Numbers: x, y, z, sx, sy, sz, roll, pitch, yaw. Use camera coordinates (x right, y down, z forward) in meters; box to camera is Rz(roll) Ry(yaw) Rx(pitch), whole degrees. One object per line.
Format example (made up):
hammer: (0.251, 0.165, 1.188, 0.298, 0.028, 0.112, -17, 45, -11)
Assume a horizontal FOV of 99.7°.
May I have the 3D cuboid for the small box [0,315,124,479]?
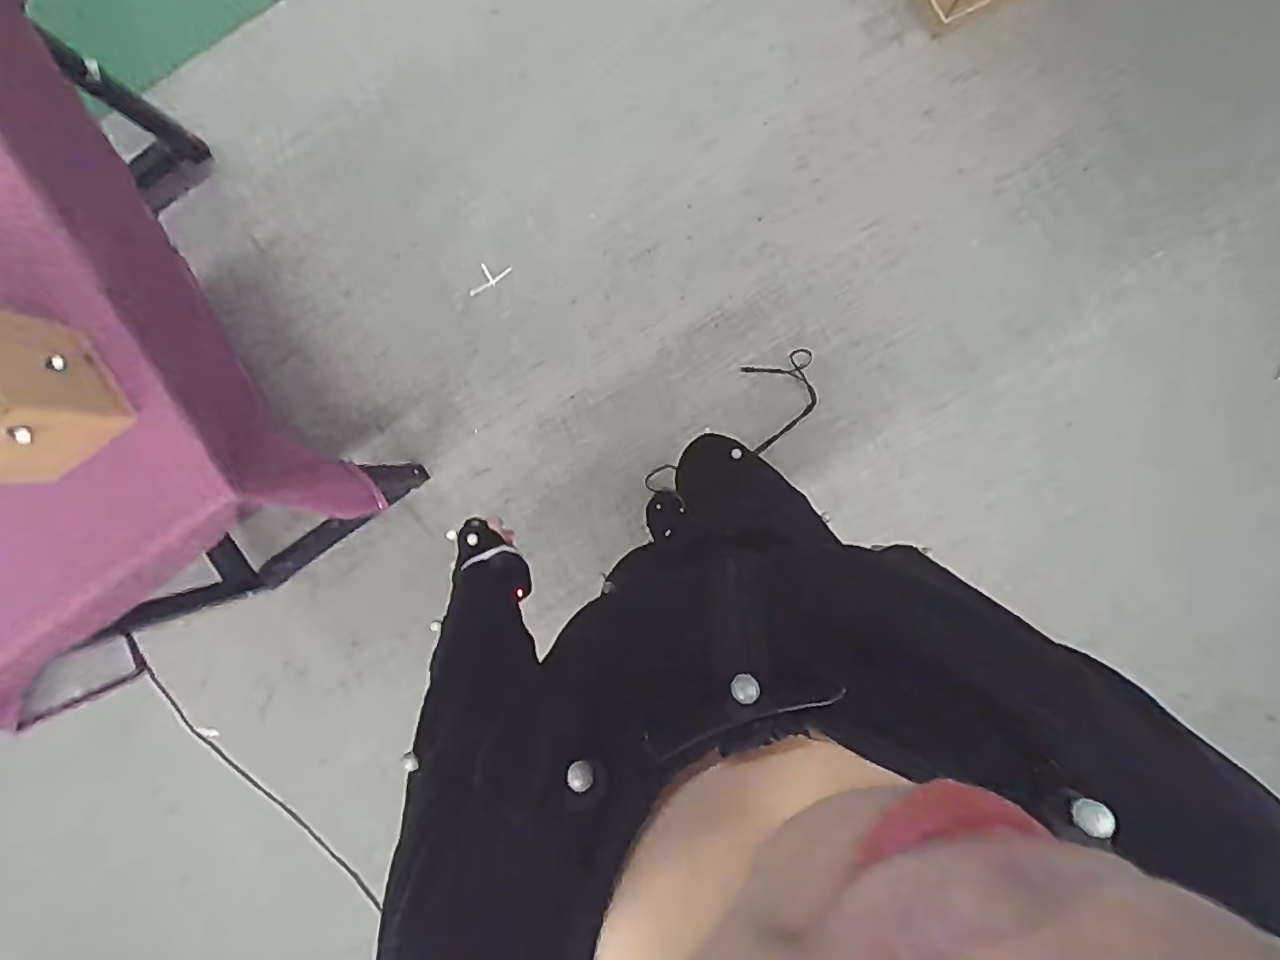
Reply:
small box: (-0.871, -0.114, 0.738, 0.179, 0.176, 0.168, -34, 89, 4)
